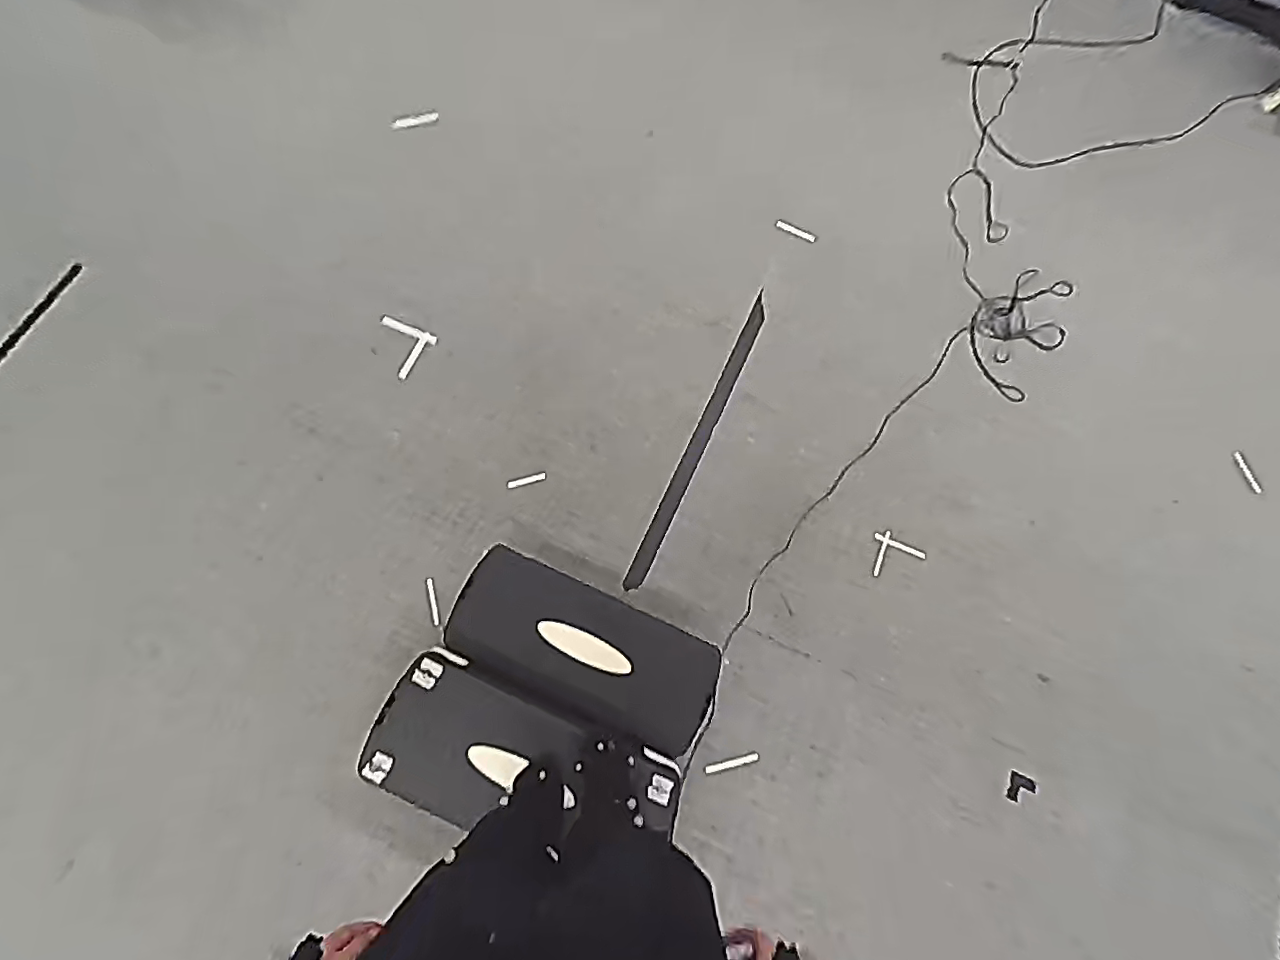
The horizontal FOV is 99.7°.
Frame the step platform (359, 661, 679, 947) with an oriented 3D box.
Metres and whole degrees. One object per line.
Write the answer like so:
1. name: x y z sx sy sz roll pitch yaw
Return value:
1. step platform: -0.256 0.691 1.206 0.684 0.204 0.286 28 72 6
